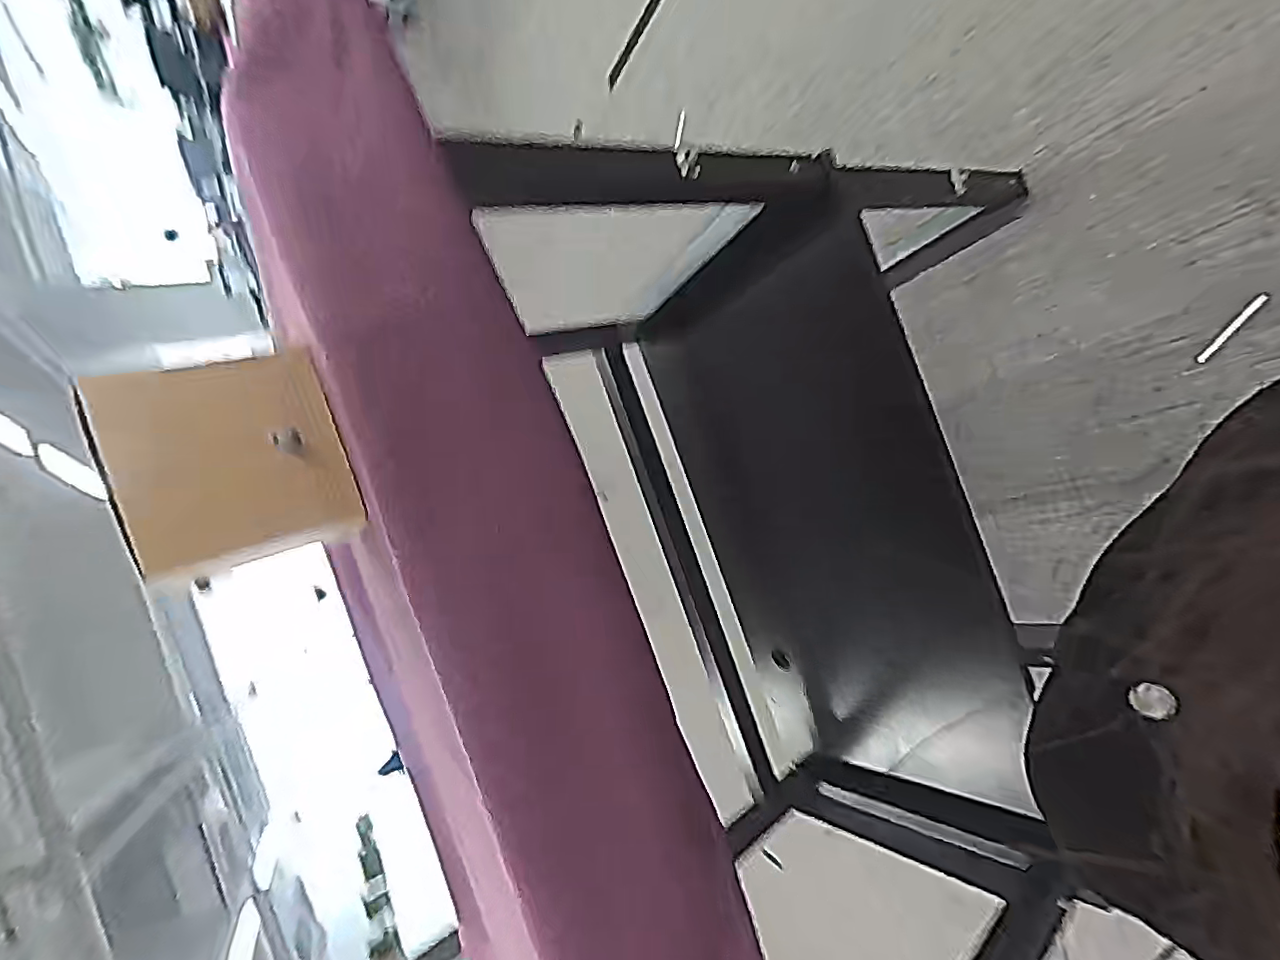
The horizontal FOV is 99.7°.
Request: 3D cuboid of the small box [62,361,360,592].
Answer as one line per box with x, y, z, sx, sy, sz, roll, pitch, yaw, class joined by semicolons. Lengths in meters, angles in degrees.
-0.392;-0.004;0.525;0.168;0.176;0.179;-22;87;59;small box
